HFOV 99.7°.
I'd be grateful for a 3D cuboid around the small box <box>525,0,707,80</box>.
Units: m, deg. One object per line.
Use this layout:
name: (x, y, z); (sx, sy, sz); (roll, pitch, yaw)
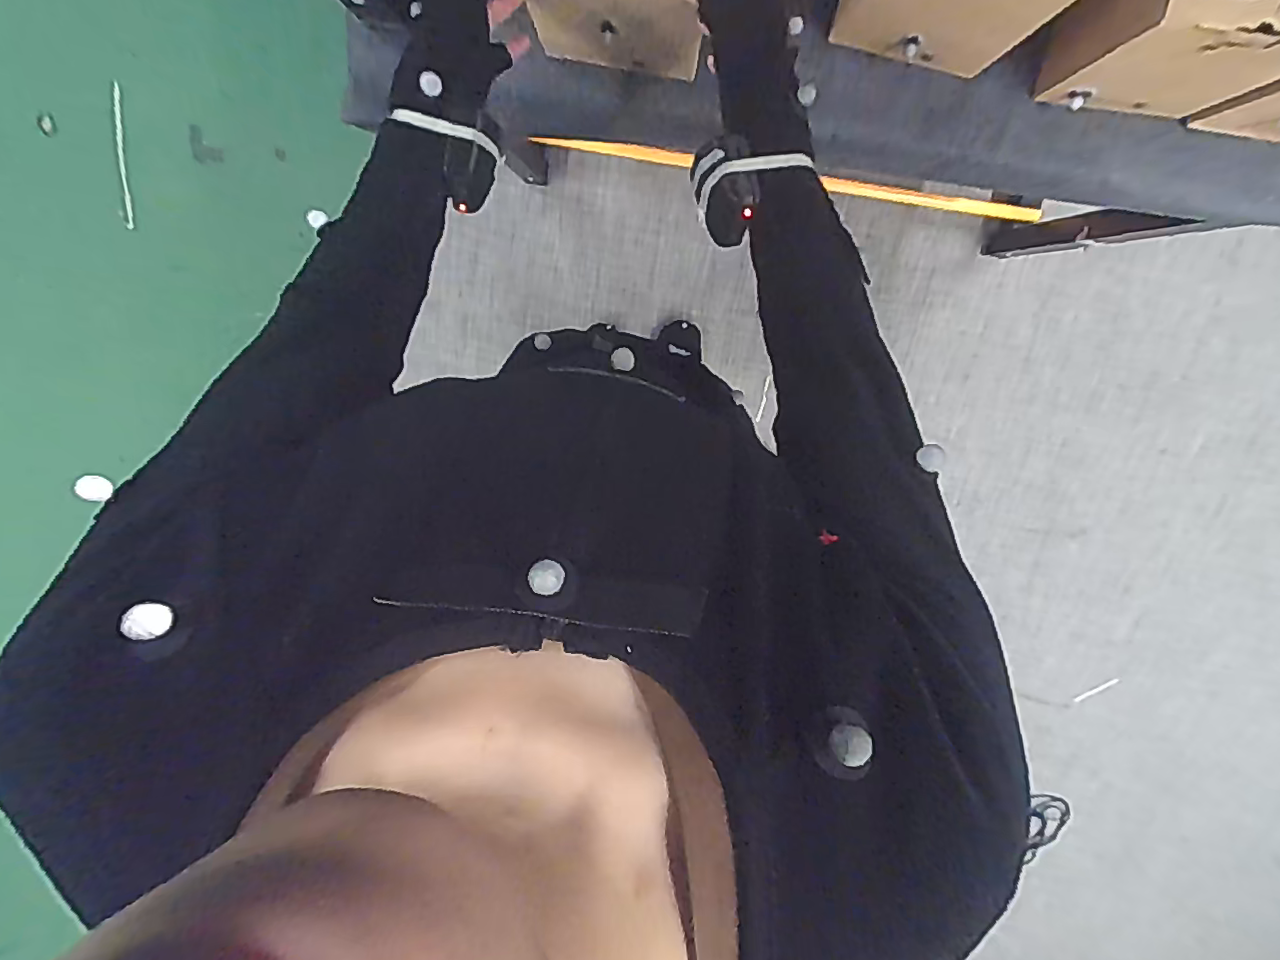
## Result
small box: (-0.012, -0.504, 0.489); (0.168, 0.176, 0.179); (10, 104, -1)
